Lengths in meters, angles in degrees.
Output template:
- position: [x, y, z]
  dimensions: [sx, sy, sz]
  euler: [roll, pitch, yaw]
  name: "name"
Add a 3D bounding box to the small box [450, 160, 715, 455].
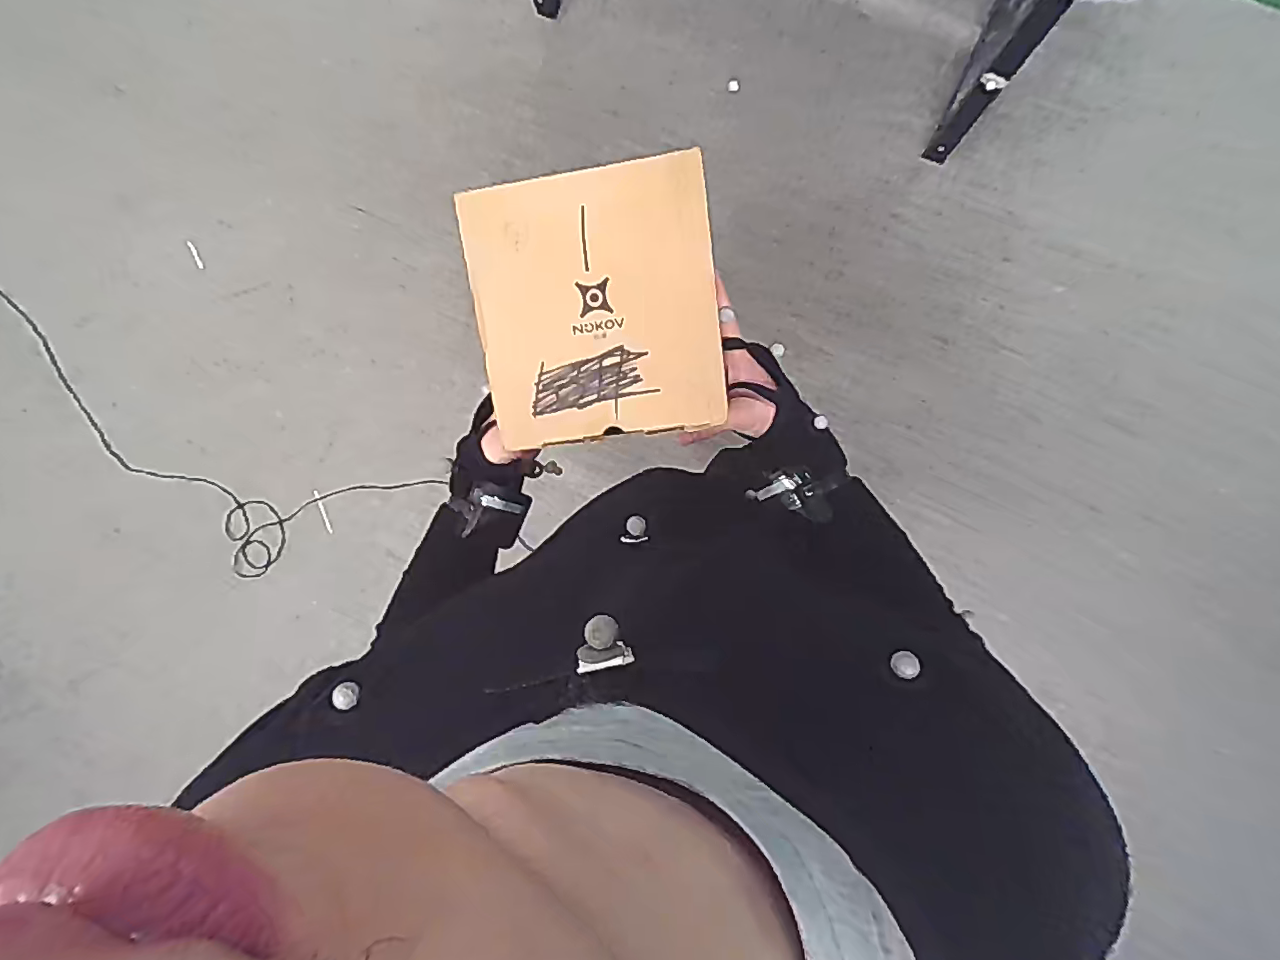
- position: [-0.028, -0.129, 0.444]
  dimensions: [0.168, 0.176, 0.179]
  euler: [-7, 102, 7]
  name: "small box"
